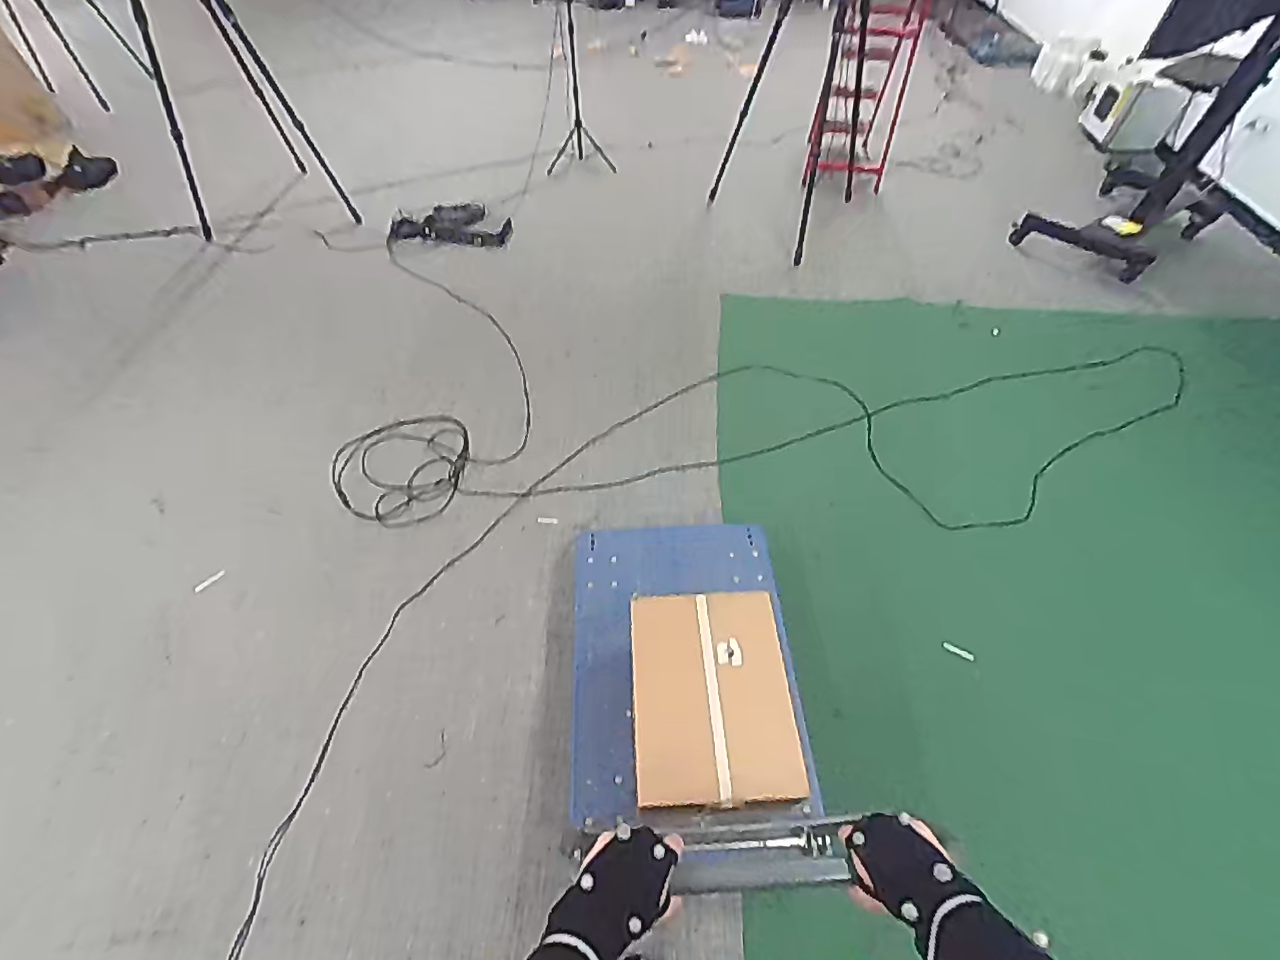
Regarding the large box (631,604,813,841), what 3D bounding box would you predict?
[{"bbox_3d":[0.149,0.533,1.197,0.320,0.320,0.408,-2,50,-2],"label":"large box"}]
